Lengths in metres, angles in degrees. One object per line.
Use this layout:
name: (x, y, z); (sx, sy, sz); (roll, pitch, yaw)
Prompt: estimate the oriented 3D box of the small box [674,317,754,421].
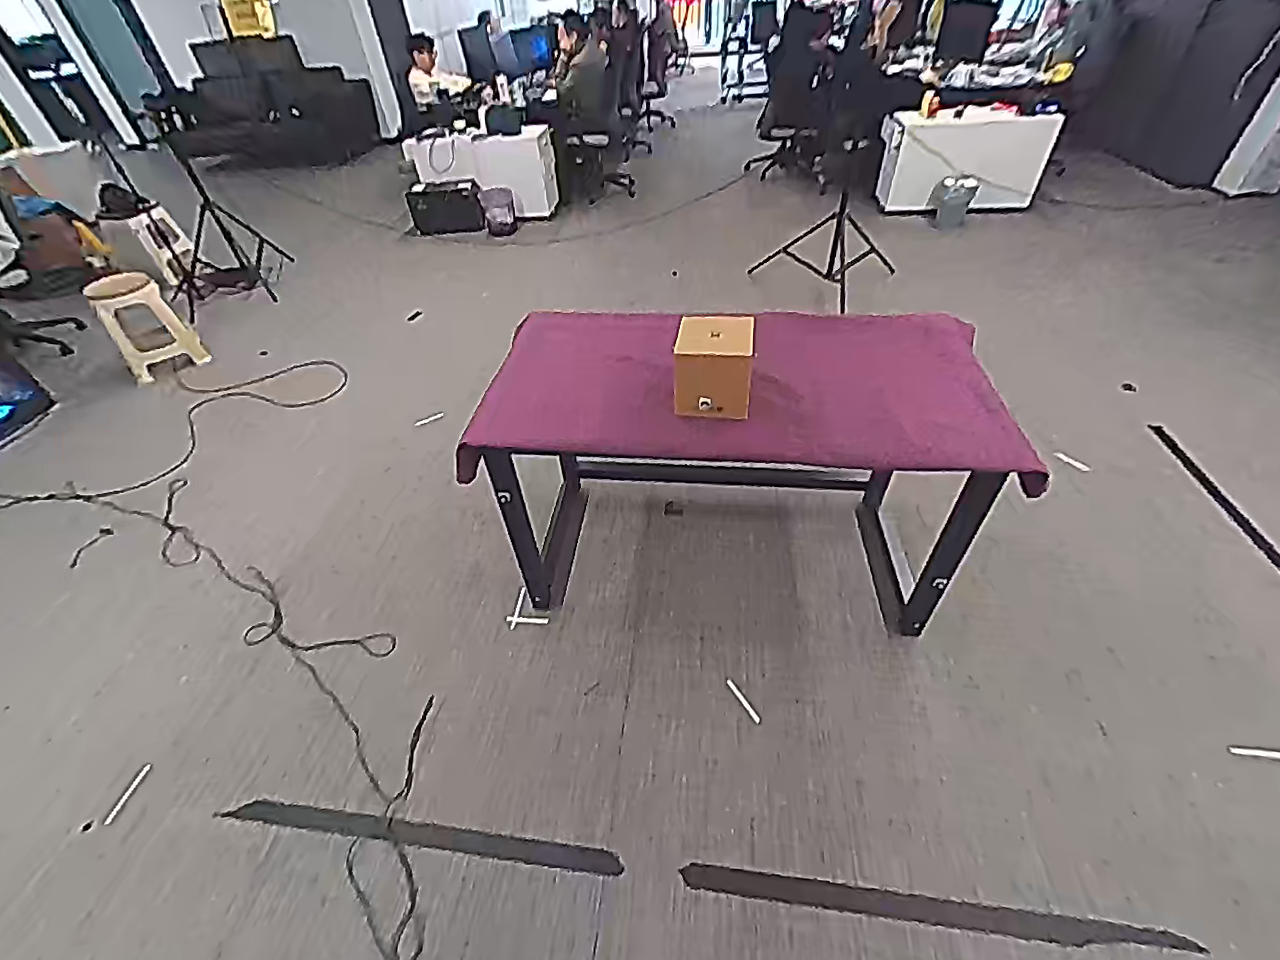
small box: (0.170, -0.256, 1.242); (0.168, 0.176, 0.179); (3, 44, 9)
